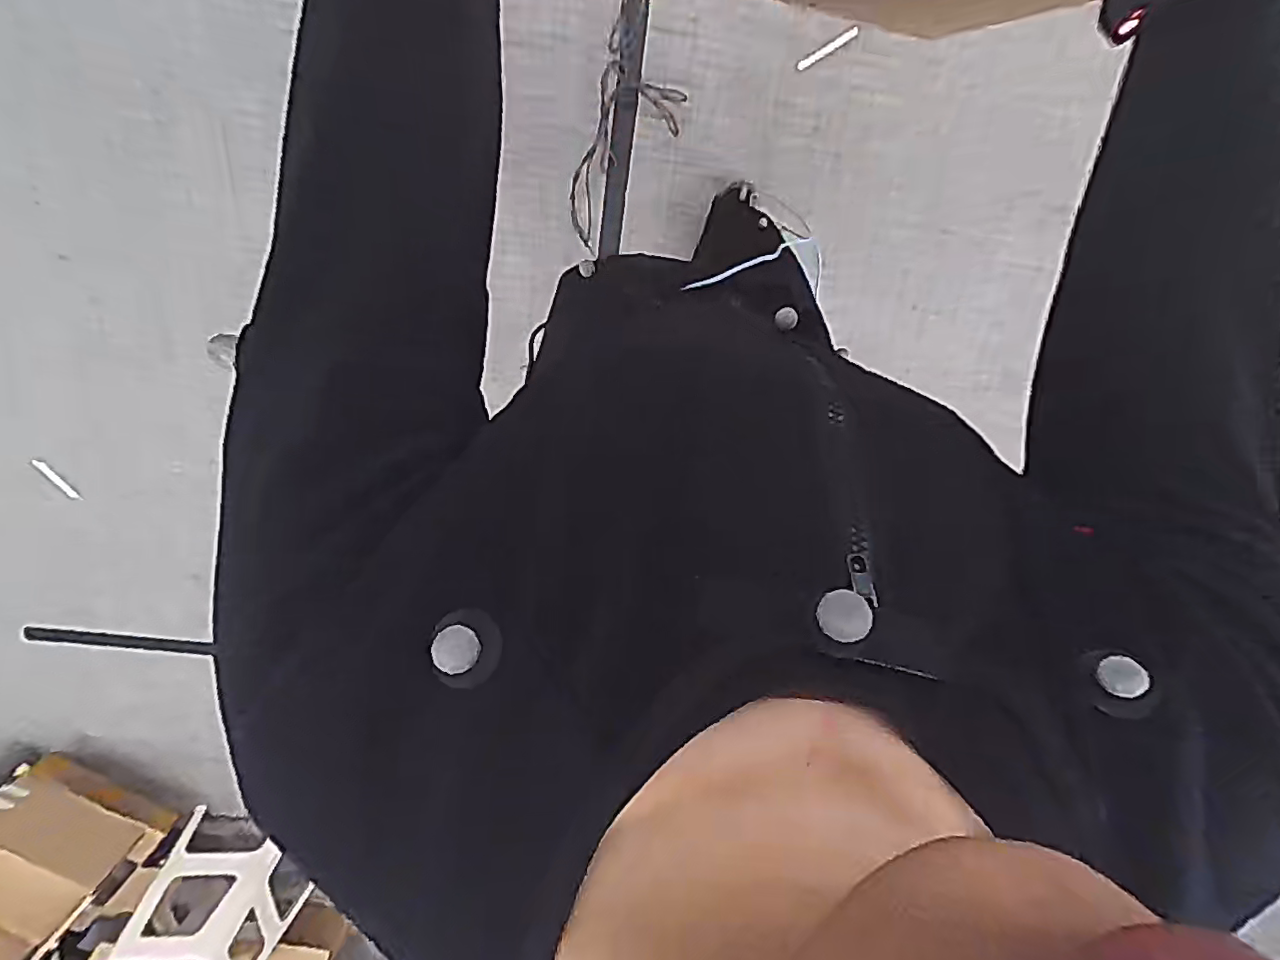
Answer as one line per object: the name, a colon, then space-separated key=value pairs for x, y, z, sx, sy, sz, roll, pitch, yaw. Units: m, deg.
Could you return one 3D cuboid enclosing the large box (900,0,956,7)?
large box: x=0.157 y=-0.581 z=0.370 sx=0.408 sy=0.320 sz=0.320 roll=11 pitch=124 yaw=-4
